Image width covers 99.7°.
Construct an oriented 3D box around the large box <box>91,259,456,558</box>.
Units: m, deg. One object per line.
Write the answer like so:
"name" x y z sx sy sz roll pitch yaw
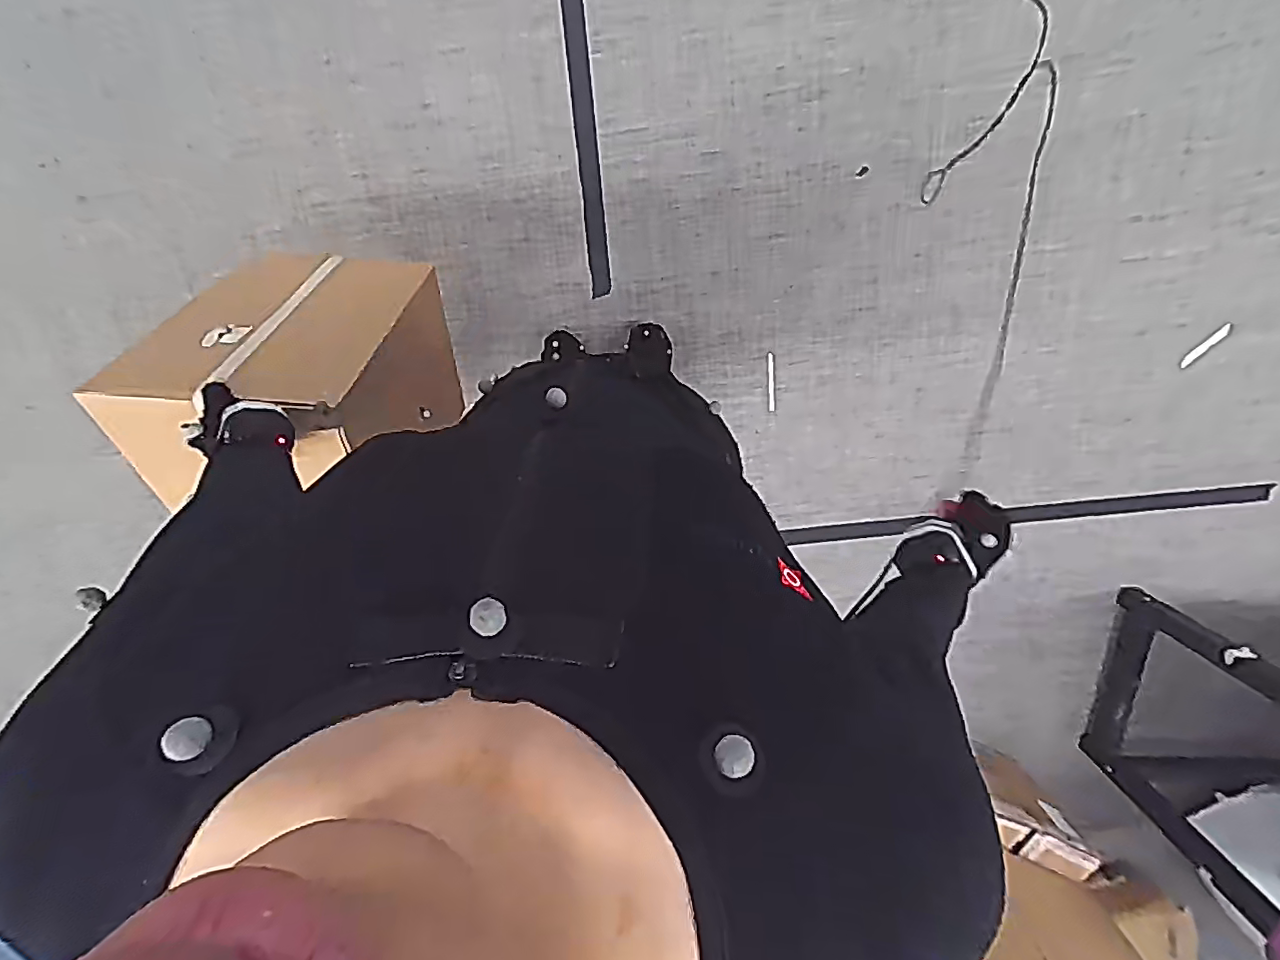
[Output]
"large box" -0.527 -0.125 0.903 0.320 0.408 0.320 2 136 -1
